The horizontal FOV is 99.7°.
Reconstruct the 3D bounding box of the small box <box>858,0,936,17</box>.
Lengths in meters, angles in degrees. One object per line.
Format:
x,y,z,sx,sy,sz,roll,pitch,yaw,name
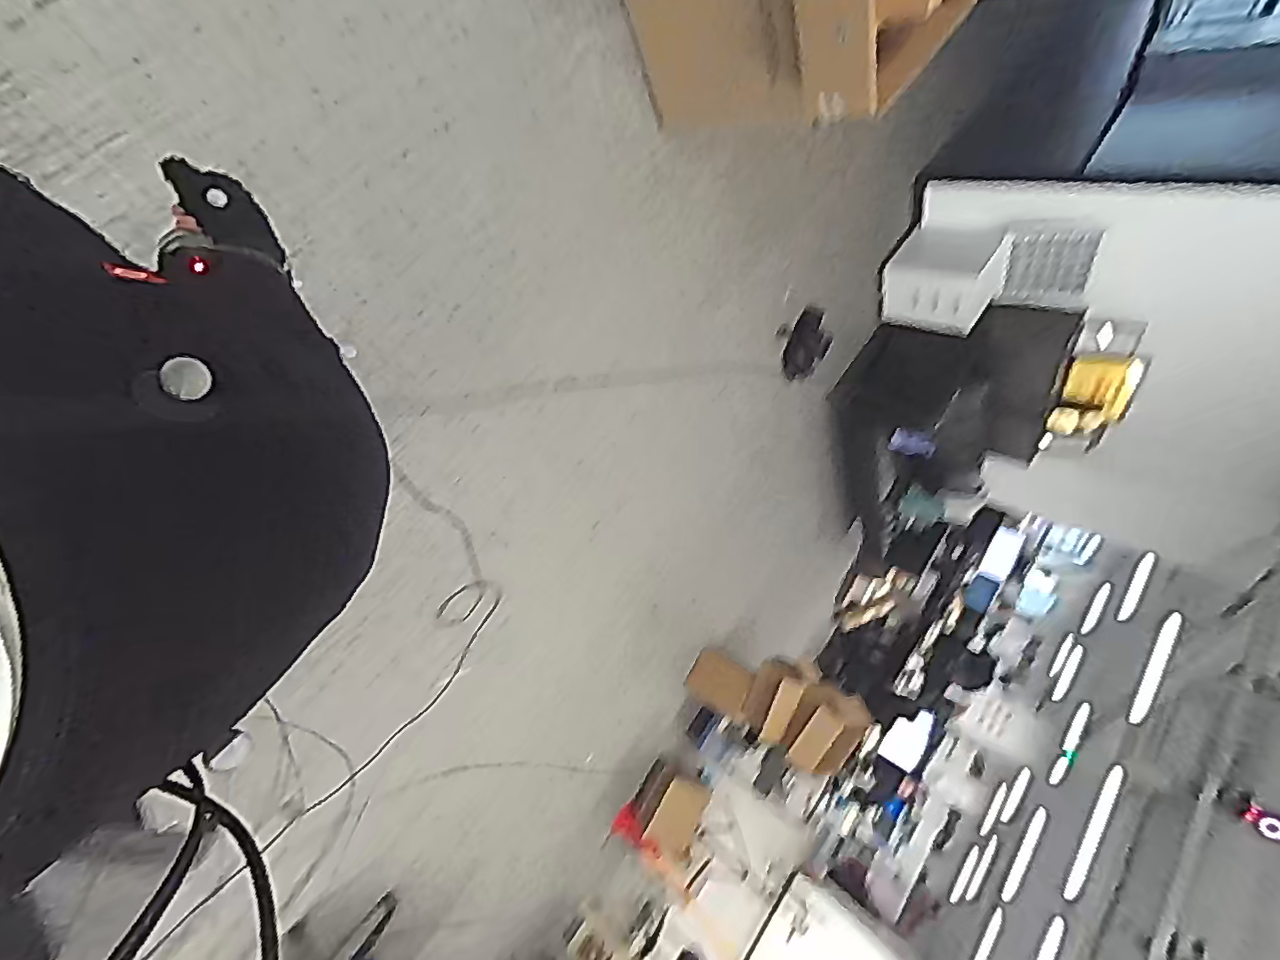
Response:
0.621,-1.221,1.259,0.168,0.176,0.179,-54,143,-16,small box
